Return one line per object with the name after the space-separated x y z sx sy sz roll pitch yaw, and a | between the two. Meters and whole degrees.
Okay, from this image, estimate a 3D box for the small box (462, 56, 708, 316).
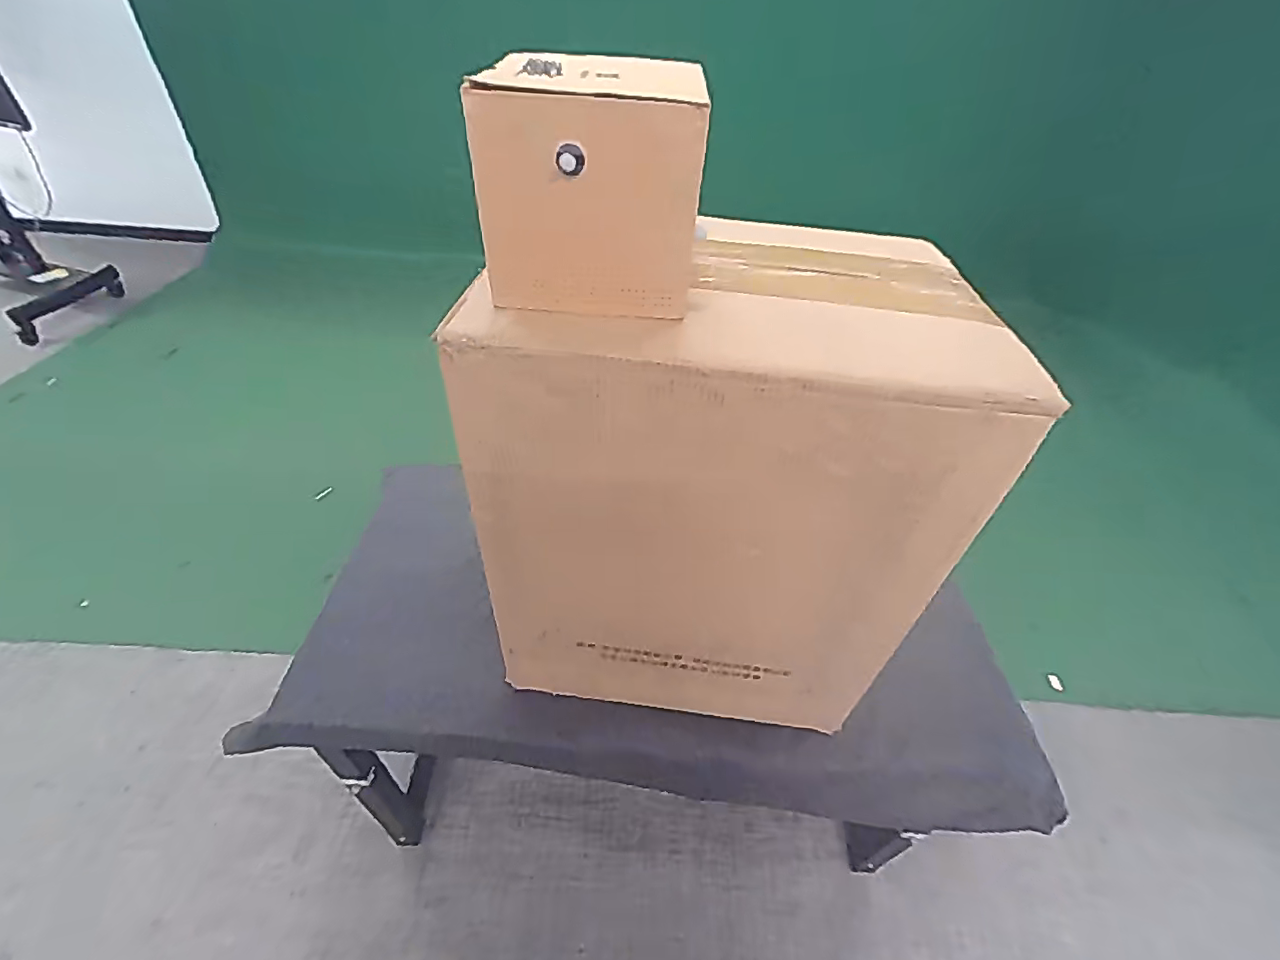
-0.036 -0.267 0.496 0.179 0.176 0.168 6 47 4 | small box
